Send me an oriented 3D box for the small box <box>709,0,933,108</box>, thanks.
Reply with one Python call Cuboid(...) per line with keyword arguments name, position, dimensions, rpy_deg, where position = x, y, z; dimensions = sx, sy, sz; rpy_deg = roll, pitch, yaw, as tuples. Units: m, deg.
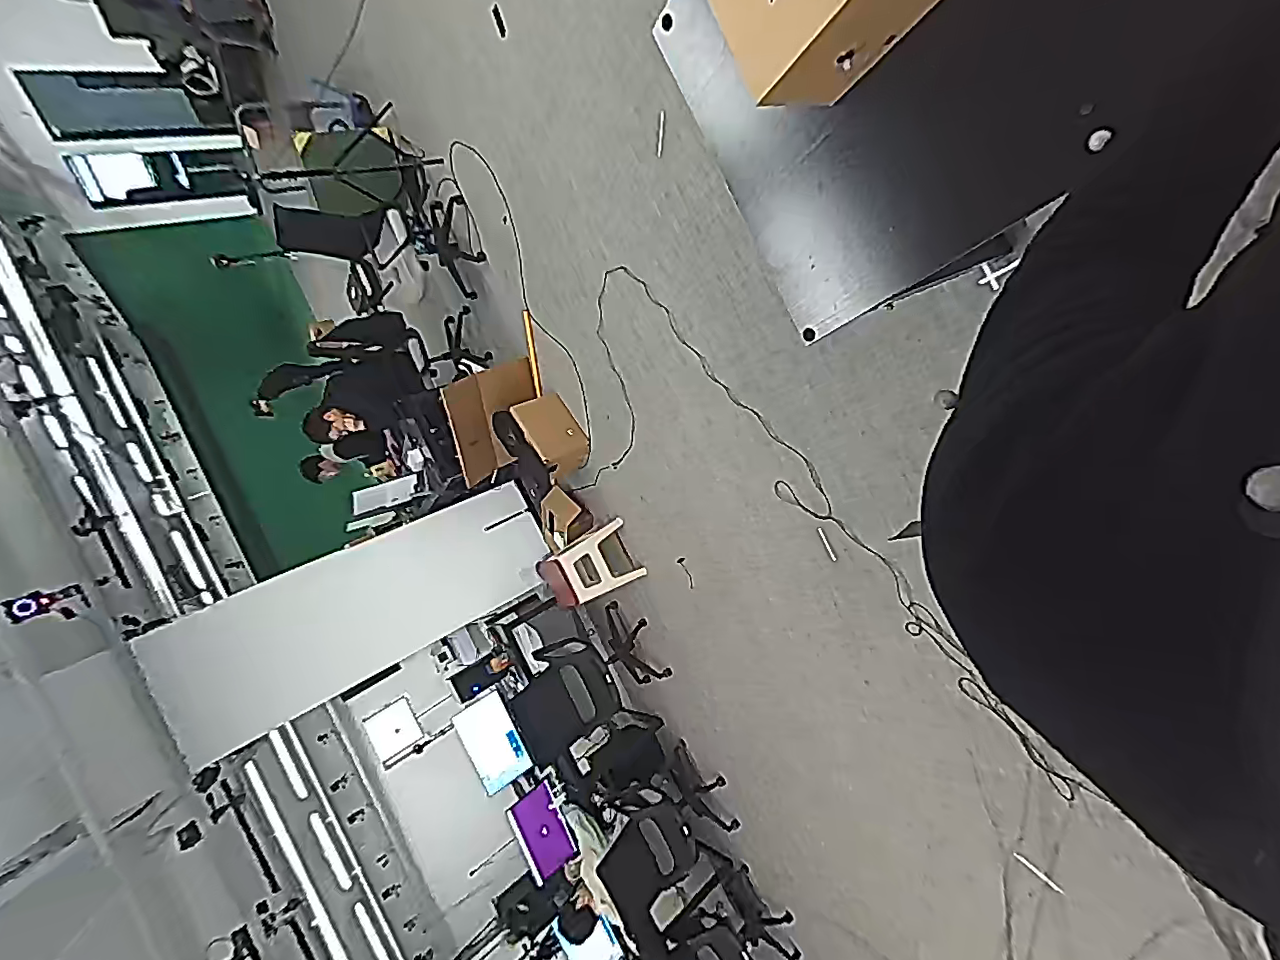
Cuboid(name="small box", position=(0.210, -0.581, 0.635), dimensions=(0.168, 0.176, 0.179), rpy_deg=(-21, 93, 58))
